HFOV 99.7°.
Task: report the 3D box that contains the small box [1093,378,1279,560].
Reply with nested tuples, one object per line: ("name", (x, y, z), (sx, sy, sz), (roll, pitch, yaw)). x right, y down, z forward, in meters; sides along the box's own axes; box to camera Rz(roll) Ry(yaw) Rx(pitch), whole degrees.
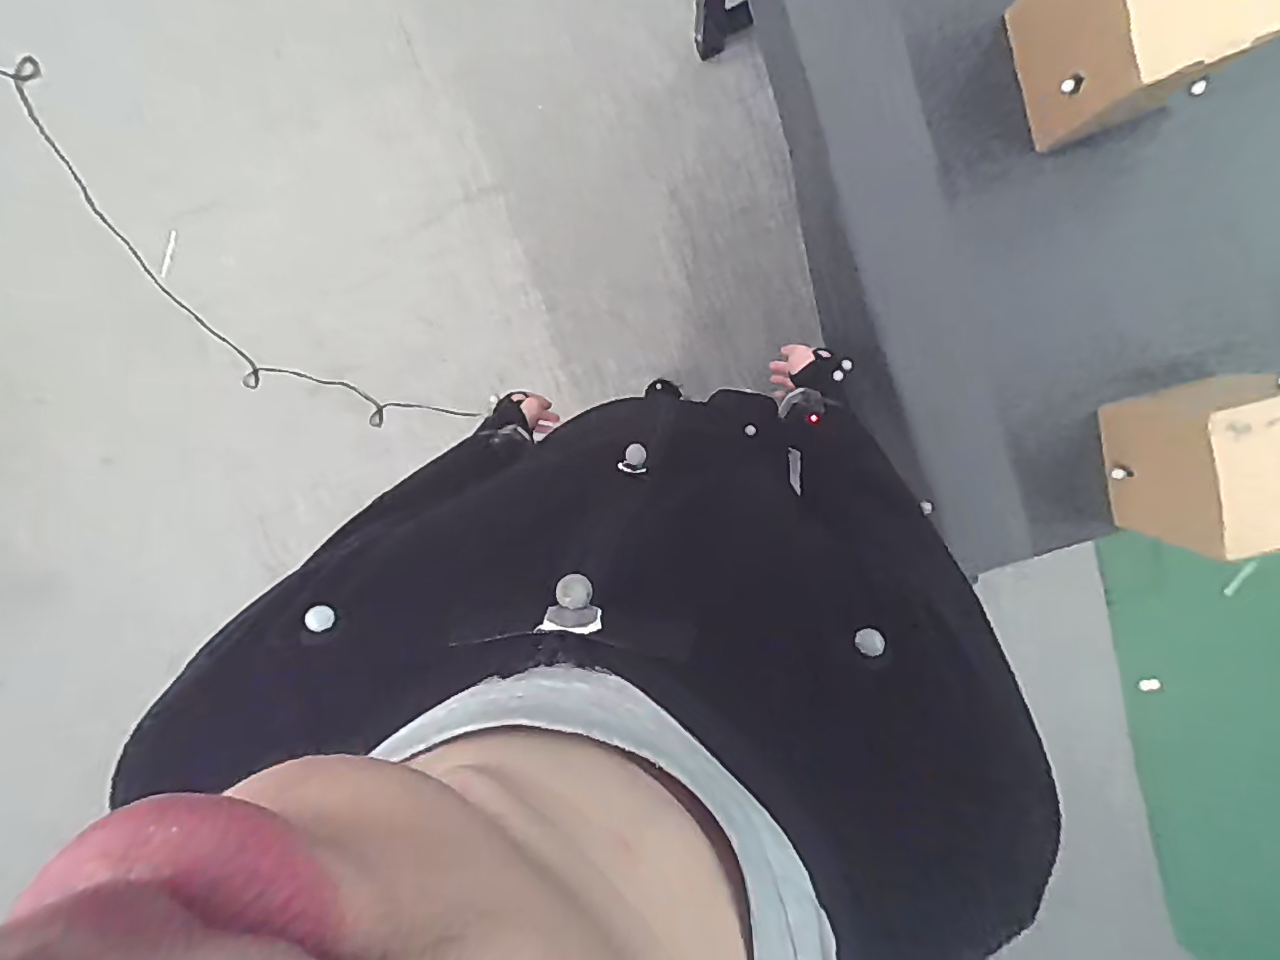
("small box", (0.721, -0.023, 0.680), (0.168, 0.176, 0.179), (-15, 100, 7))

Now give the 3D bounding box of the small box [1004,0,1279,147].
("small box", (0.550, -0.505, 0.599), (0.168, 0.176, 0.179), (-20, 98, 6))
